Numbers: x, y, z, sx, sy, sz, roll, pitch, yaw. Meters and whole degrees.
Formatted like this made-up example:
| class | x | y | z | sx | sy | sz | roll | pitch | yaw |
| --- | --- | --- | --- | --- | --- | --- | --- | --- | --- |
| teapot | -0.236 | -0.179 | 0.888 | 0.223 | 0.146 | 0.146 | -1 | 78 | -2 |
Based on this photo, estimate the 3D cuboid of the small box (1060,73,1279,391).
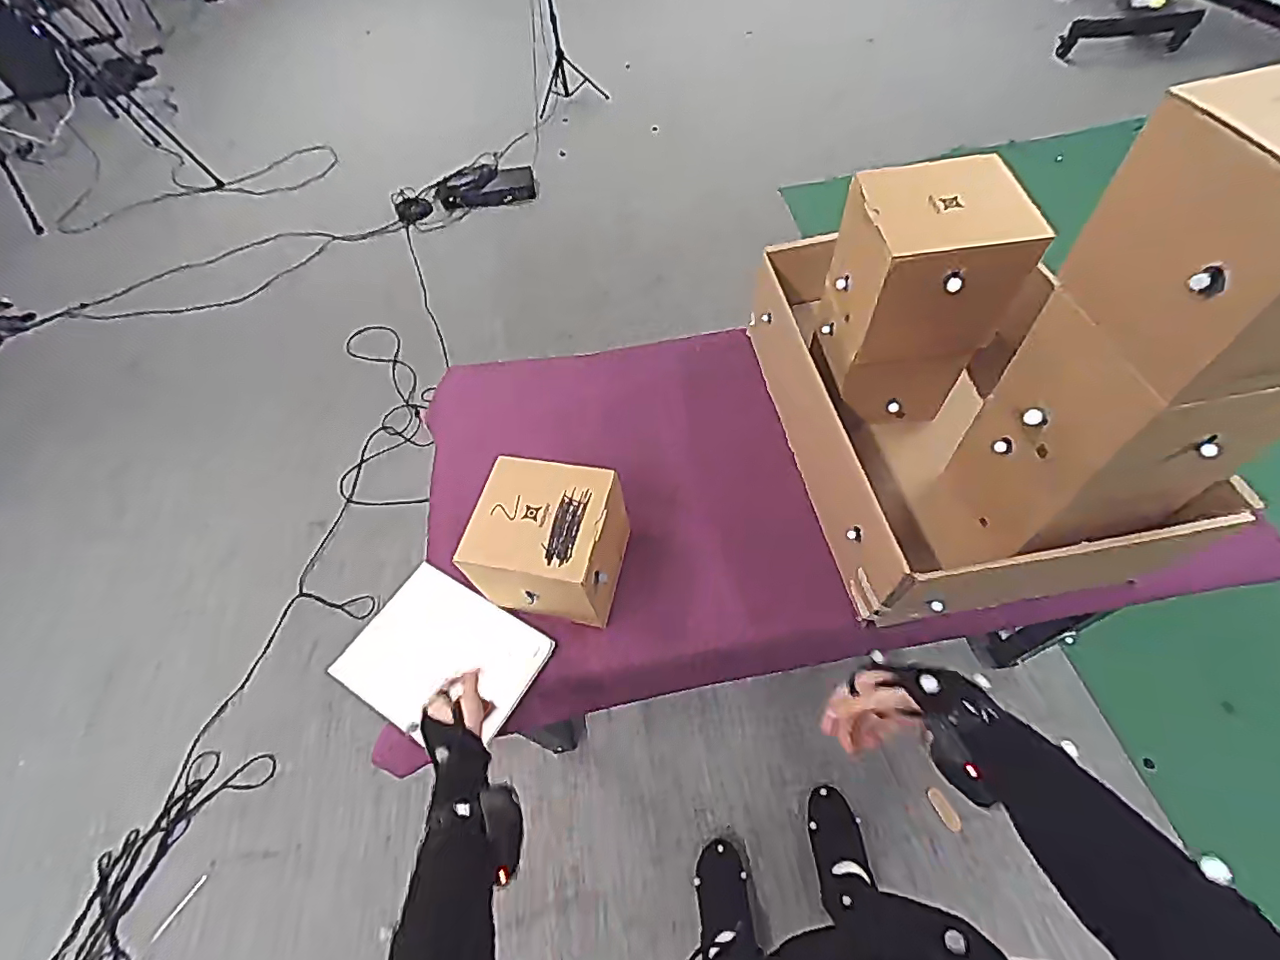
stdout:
| class | x | y | z | sx | sy | sz | roll | pitch | yaw |
| --- | --- | --- | --- | --- | --- | --- | --- | --- | --- |
| small box | 0.490 | -0.186 | 0.422 | 0.168 | 0.176 | 0.179 | -10 | 55 | 2 |

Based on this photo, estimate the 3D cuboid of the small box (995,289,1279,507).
| class | x | y | z | sx | sy | sz | roll | pitch | yaw |
| --- | --- | --- | --- | --- | --- | --- | --- | --- | --- |
| small box | 0.514 | -0.092 | 0.552 | 0.179 | 0.176 | 0.168 | -11 | 55 | 3 |

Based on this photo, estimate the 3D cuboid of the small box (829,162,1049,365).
| class | x | y | z | sx | sy | sz | roll | pitch | yaw |
| --- | --- | --- | --- | --- | --- | --- | --- | --- | --- |
| small box | 0.362 | -0.269 | 0.695 | 0.179 | 0.176 | 0.168 | -6 | 59 | 4 |
